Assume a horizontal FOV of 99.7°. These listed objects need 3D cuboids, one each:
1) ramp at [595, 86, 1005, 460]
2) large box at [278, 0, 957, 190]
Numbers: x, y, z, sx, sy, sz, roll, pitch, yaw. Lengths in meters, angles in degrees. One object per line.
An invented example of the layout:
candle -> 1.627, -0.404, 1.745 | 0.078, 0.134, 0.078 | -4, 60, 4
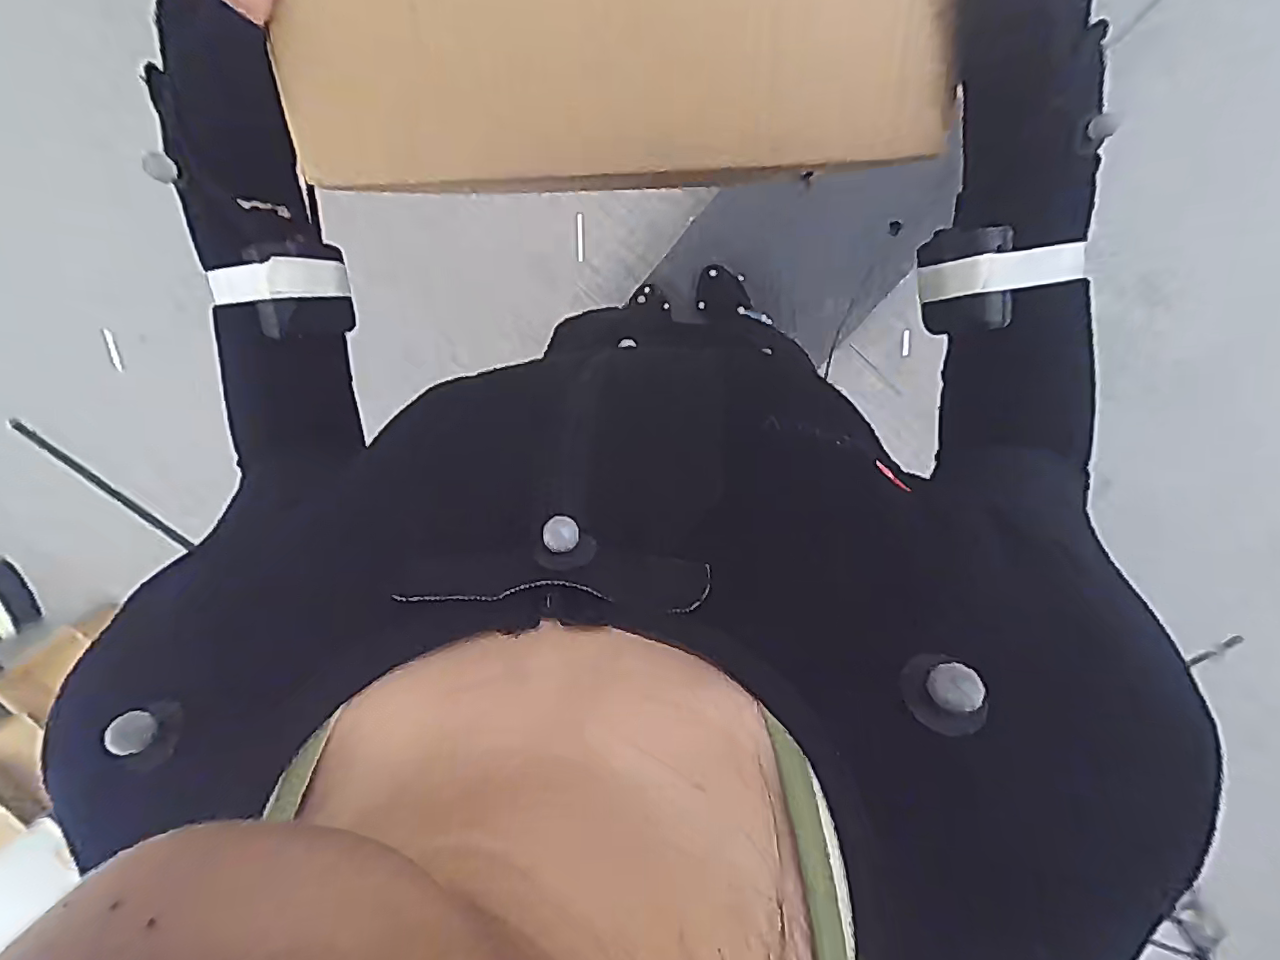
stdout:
ramp -> 0.381, -0.568, 1.363 | 0.509, 0.206, 0.991 | 39, 111, -8
large box -> -0.013, -0.407, 0.418 | 0.408, 0.320, 0.320 | -1, 117, 1
